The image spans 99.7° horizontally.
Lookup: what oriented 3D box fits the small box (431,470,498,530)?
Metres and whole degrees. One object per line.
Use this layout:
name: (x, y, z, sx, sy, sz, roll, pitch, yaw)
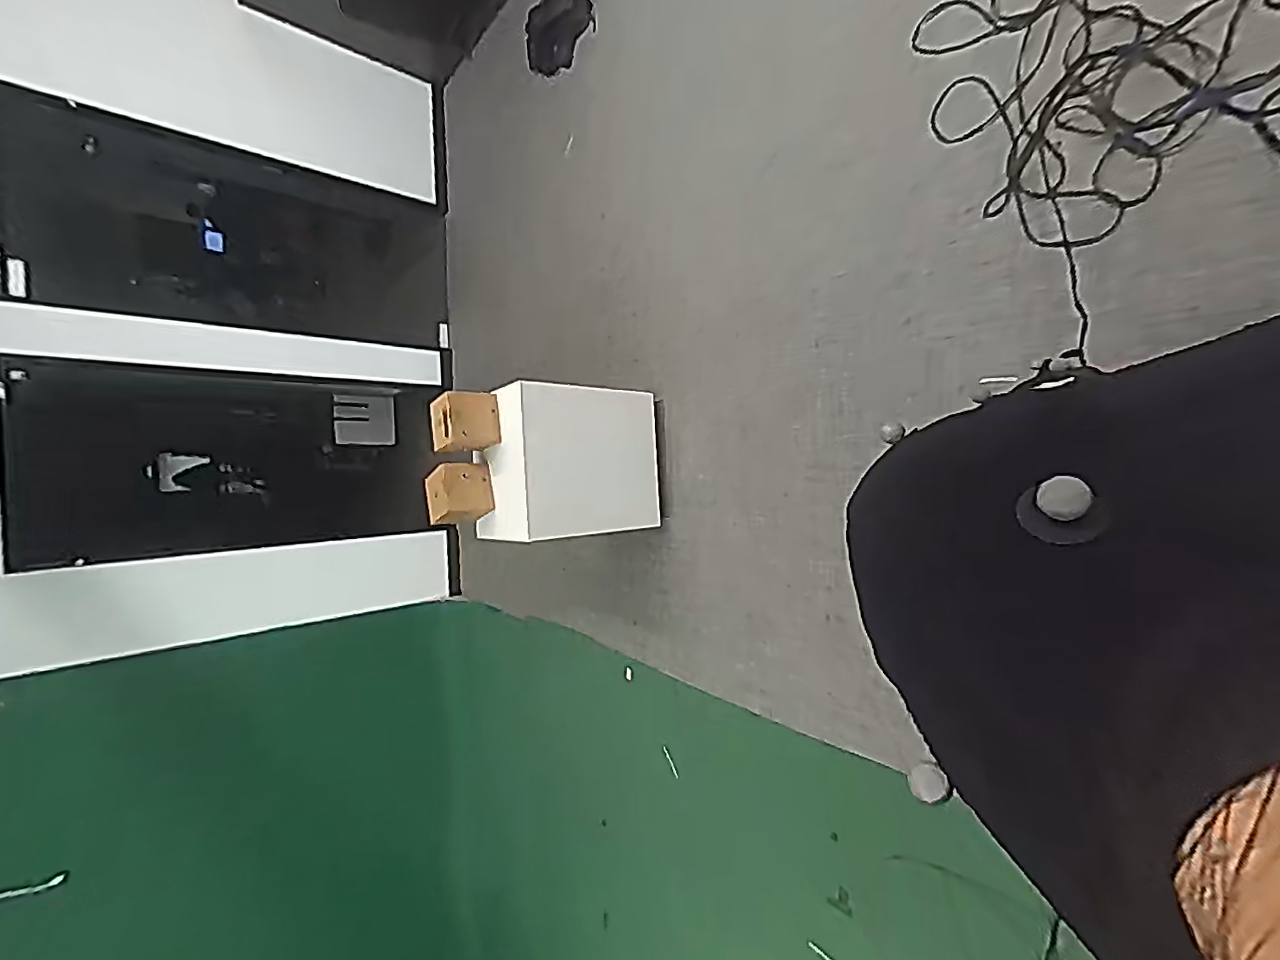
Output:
small box: (-0.605, 0.066, 1.874, 0.179, 0.176, 0.168, -30, 69, 48)
